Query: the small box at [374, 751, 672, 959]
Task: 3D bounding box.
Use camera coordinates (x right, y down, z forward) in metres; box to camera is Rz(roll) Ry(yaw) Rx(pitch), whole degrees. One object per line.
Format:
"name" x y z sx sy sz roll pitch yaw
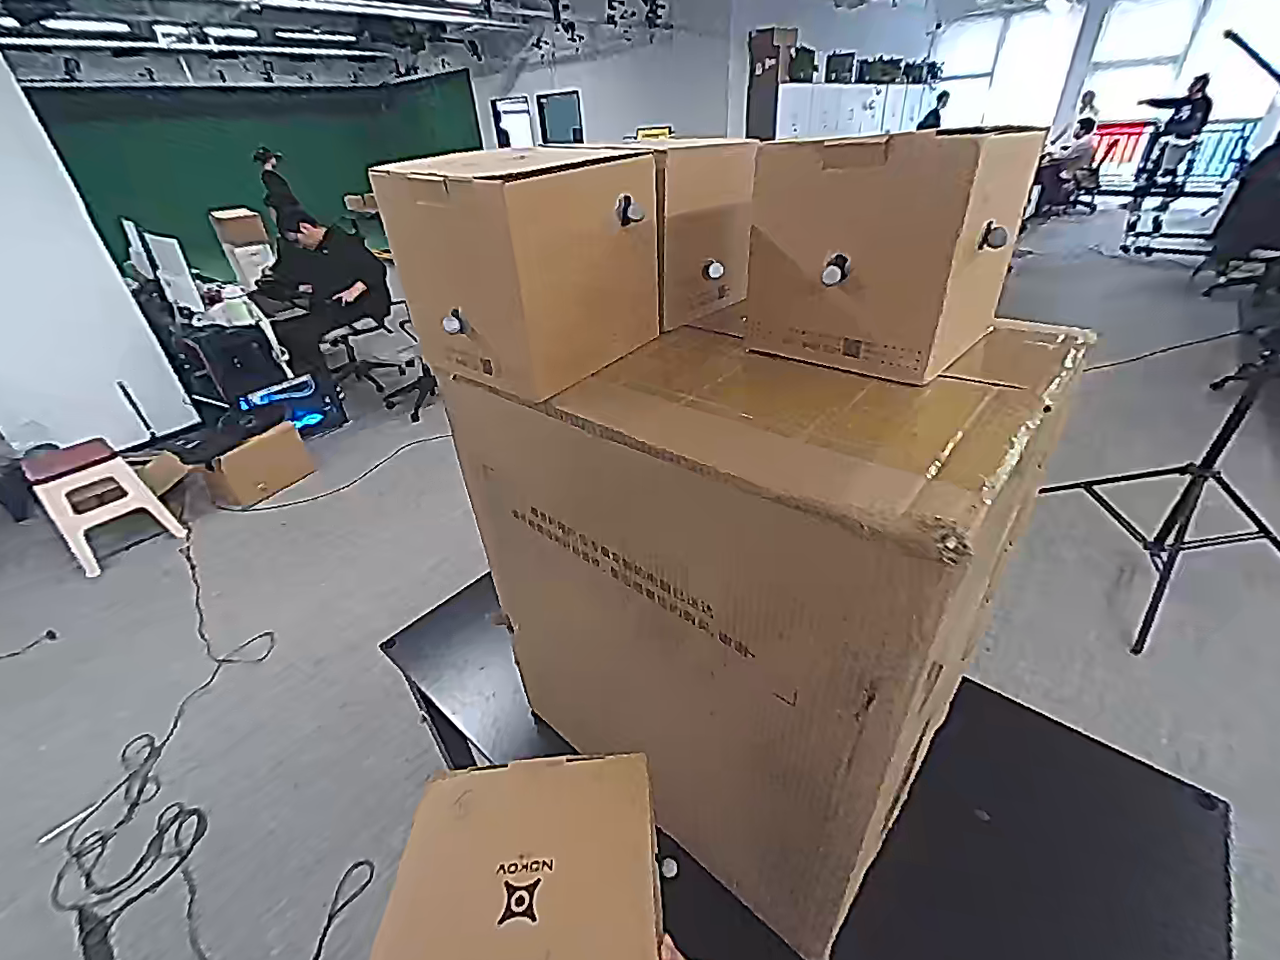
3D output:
"small box" -0.064 0.320 0.368 0.168 0.176 0.179 -5 29 0
